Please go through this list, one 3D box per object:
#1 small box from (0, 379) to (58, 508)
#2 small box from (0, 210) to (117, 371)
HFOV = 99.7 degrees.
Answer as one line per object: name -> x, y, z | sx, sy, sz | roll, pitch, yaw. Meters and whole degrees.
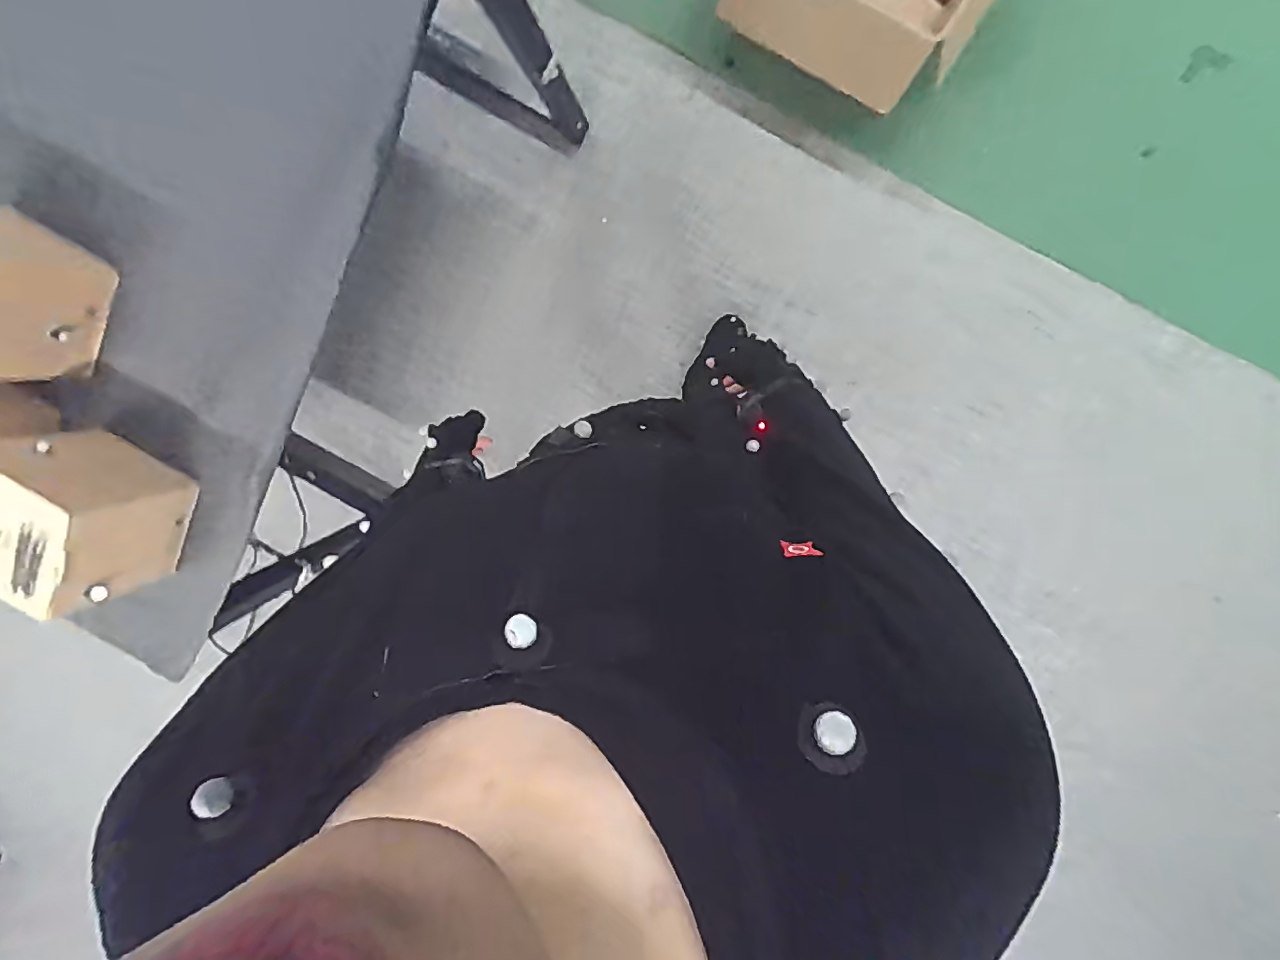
small box -> -0.975, -0.055, 0.742 | 0.179, 0.176, 0.168 | 28, 105, 0
small box -> -0.839, -0.245, 0.684 | 0.179, 0.176, 0.168 | 30, 104, -2
